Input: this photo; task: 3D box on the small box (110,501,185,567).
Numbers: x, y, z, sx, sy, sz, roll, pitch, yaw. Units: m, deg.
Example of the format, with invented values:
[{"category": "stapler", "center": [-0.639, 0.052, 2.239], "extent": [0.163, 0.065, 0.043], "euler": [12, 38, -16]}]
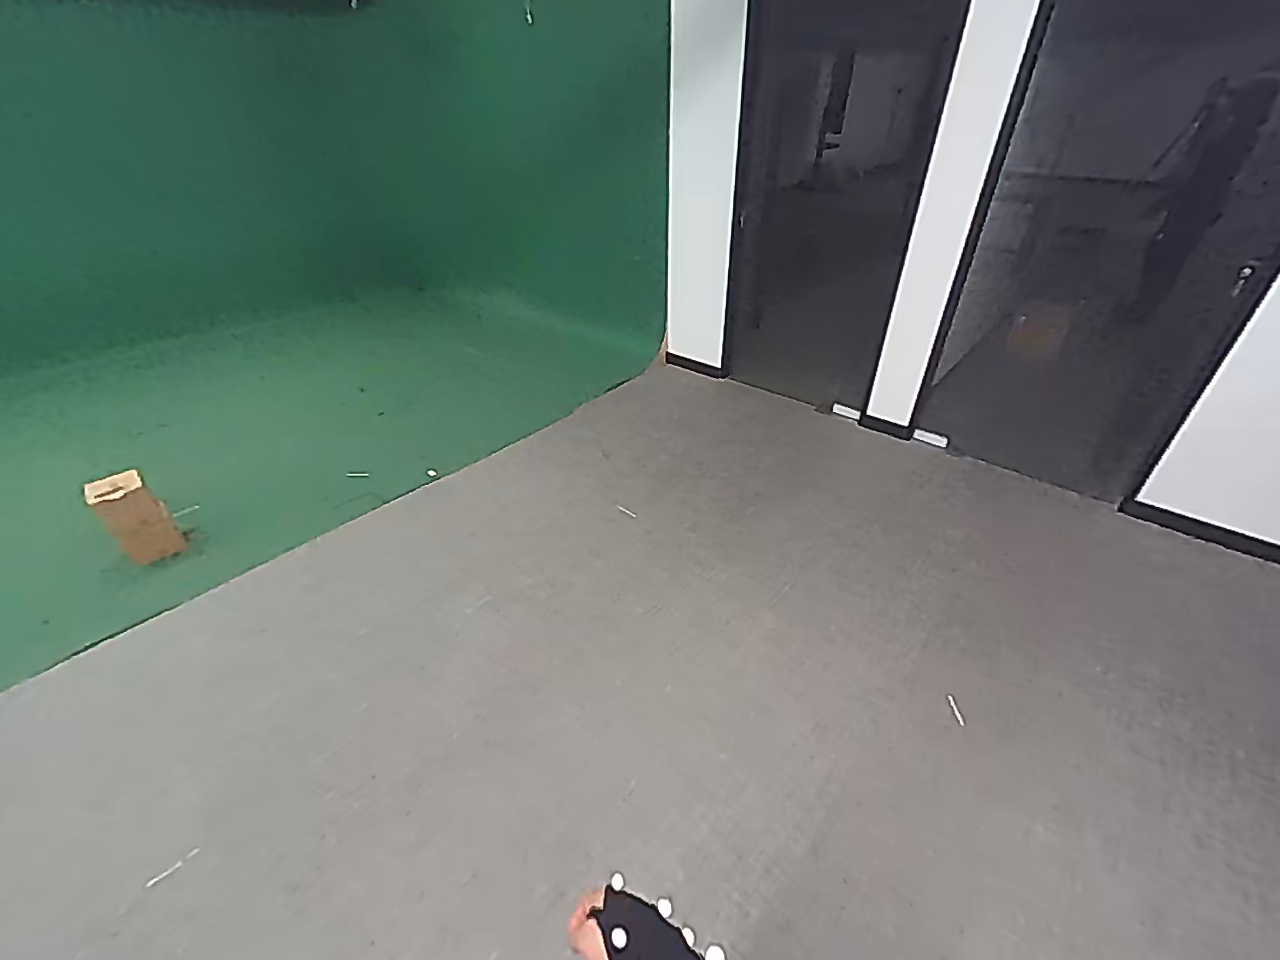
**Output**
[{"category": "small box", "center": [-2.023, 0.223, 2.229], "extent": [0.179, 0.176, 0.168], "euler": [-30, 45, -34]}]
